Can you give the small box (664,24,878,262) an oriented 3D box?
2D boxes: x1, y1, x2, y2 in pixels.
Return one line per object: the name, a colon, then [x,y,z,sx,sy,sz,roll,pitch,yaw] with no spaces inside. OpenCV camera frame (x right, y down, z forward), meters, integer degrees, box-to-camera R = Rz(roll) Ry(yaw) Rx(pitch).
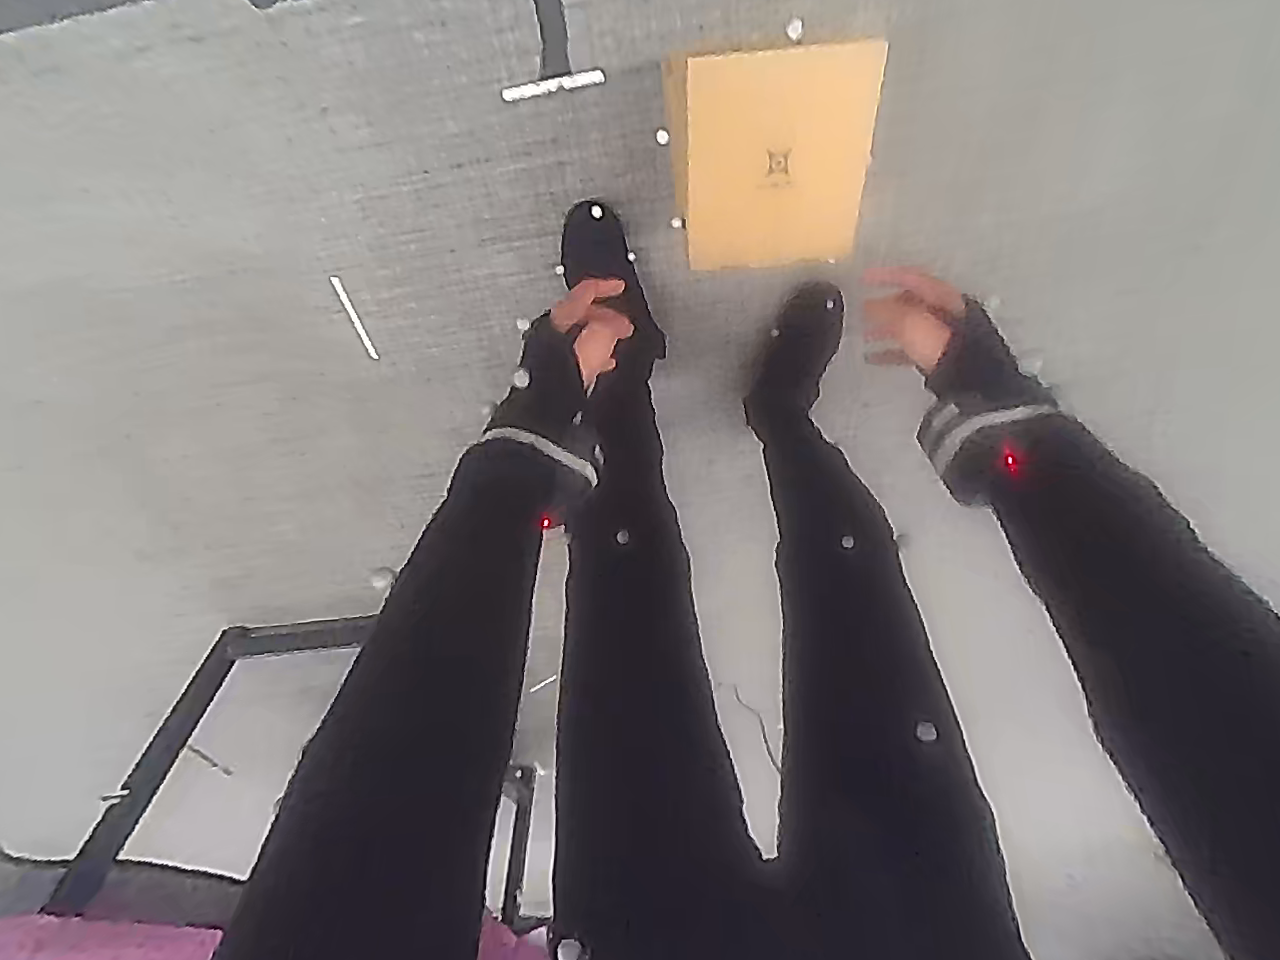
small box: [0.113,-0.344,0.548,0.168,0.176,0.179,-4,134,1]
